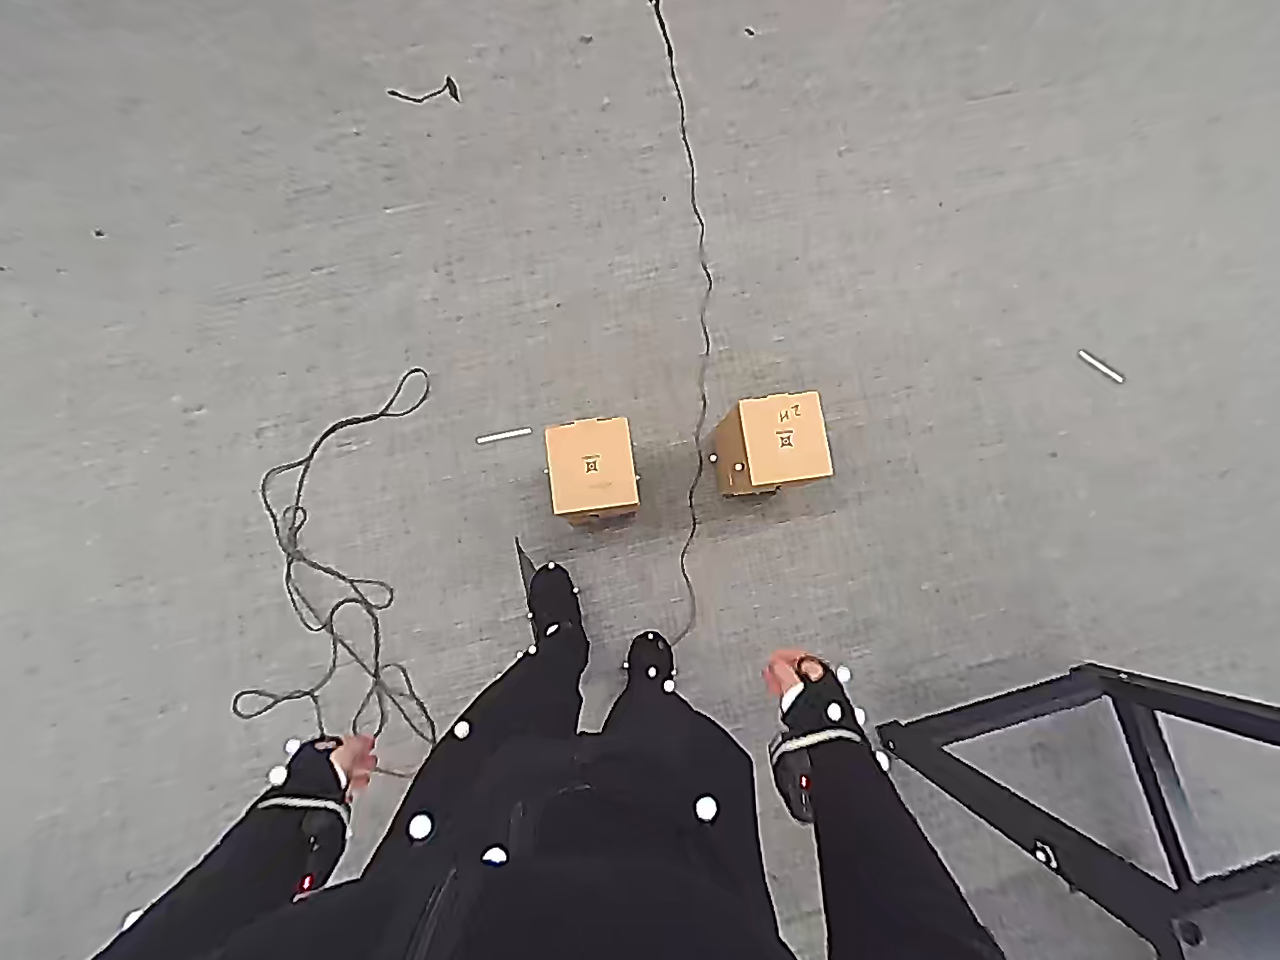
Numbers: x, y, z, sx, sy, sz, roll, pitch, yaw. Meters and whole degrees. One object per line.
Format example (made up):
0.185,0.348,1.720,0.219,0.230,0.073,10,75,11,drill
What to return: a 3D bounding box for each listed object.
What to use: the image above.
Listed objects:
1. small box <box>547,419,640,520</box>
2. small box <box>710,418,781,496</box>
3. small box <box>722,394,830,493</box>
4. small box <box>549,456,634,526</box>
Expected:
-0.095,-0.016,1.131,0.168,0.176,0.179,-8,83,-2,small box
0.277,-0.056,1.315,0.179,0.176,0.168,-5,82,-3,small box
0.280,-0.069,1.150,0.168,0.176,0.179,-8,82,-5,small box
-0.105,0.011,1.292,0.179,0.176,0.168,-13,83,-3,small box
